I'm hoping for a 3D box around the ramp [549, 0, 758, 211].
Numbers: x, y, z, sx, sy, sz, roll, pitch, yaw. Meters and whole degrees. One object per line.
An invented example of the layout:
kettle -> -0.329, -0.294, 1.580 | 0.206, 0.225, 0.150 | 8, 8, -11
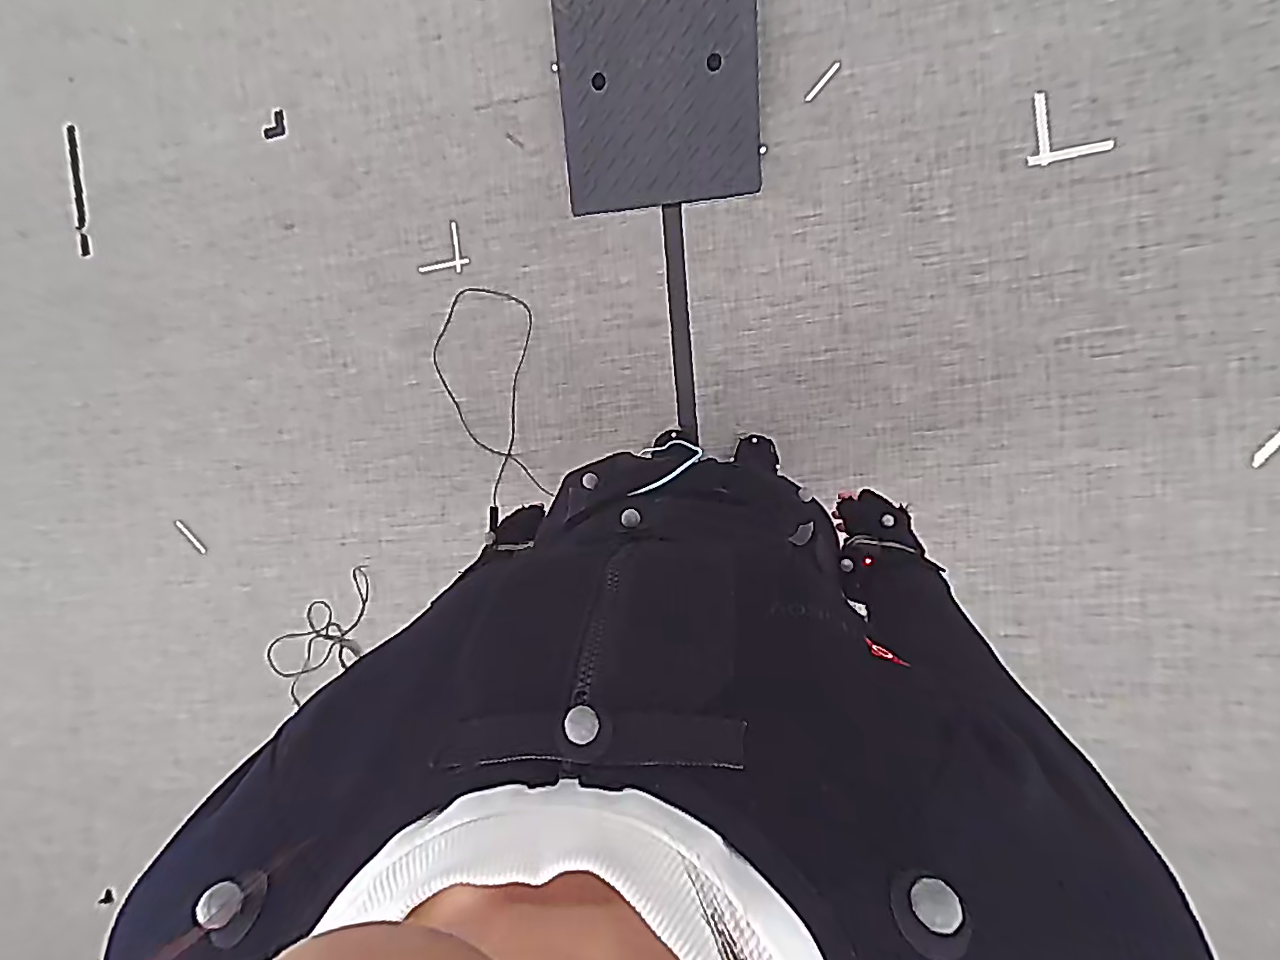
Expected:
ramp -> 0.018, -1.202, 1.268 | 0.509, 0.206, 0.991 | -4, 94, 9
